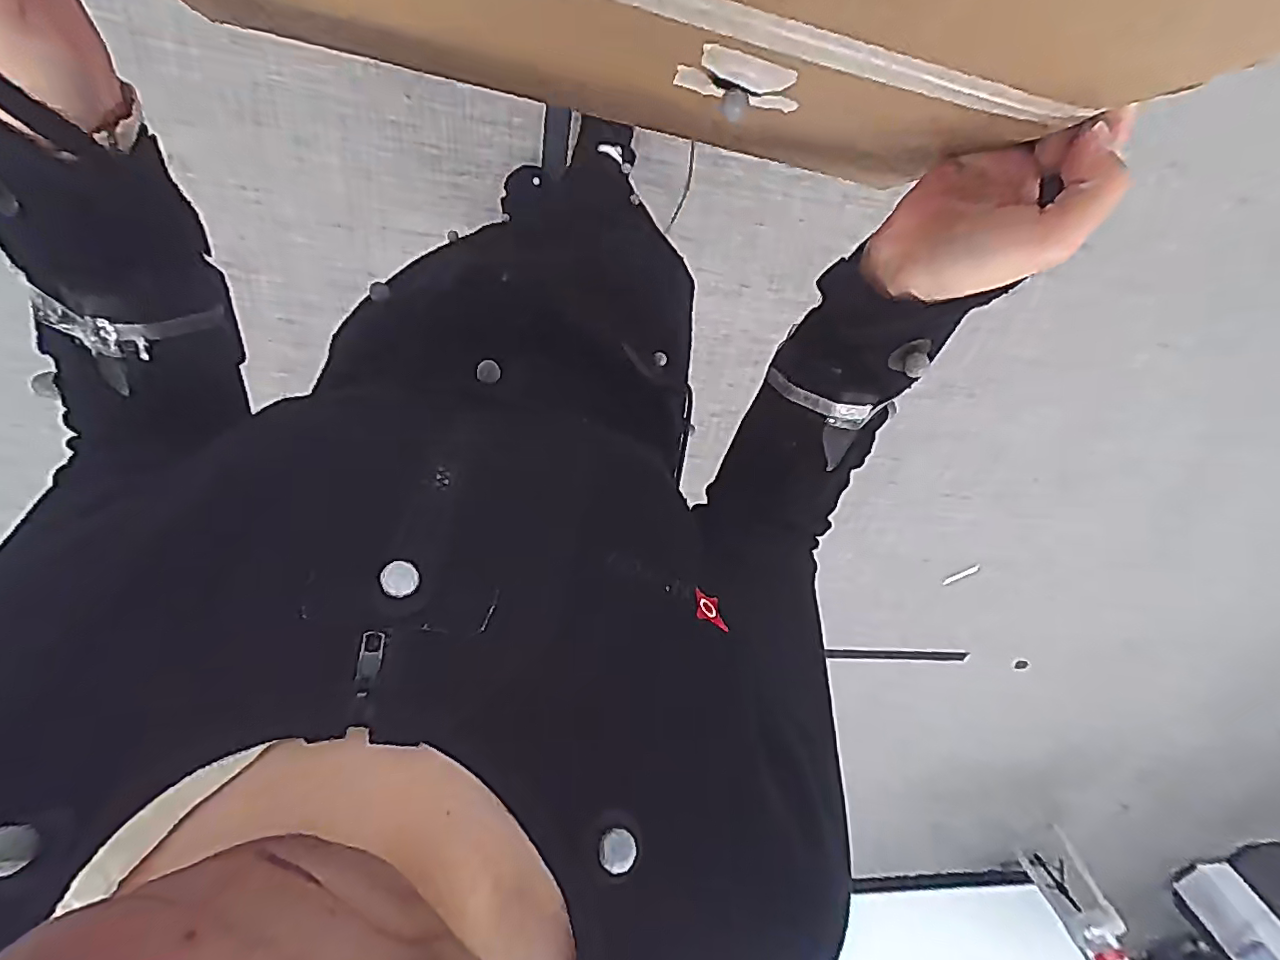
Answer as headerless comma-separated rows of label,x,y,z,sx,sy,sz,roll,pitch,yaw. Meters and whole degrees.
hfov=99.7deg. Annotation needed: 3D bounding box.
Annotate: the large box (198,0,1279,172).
large box,0.010,-0.323,0.142,0.408,0.320,0.320,7,108,-10
